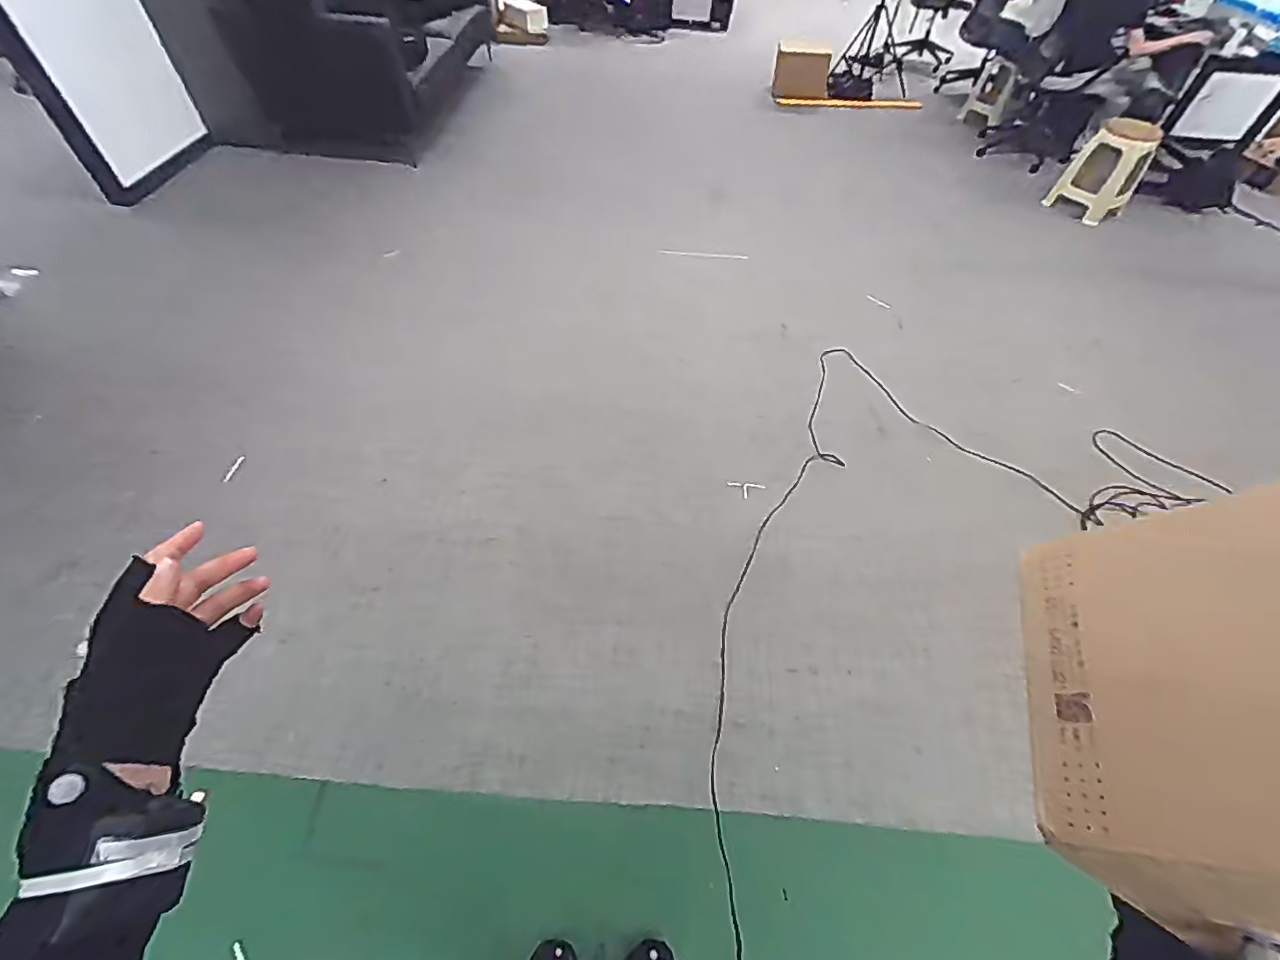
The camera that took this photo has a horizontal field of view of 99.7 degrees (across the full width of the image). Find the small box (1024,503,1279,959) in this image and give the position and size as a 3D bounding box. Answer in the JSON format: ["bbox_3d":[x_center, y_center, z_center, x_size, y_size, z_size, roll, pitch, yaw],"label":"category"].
[{"bbox_3d":[0.314,0.119,0.248,0.179,0.176,0.168,37,53,-16],"label":"small box"}]
